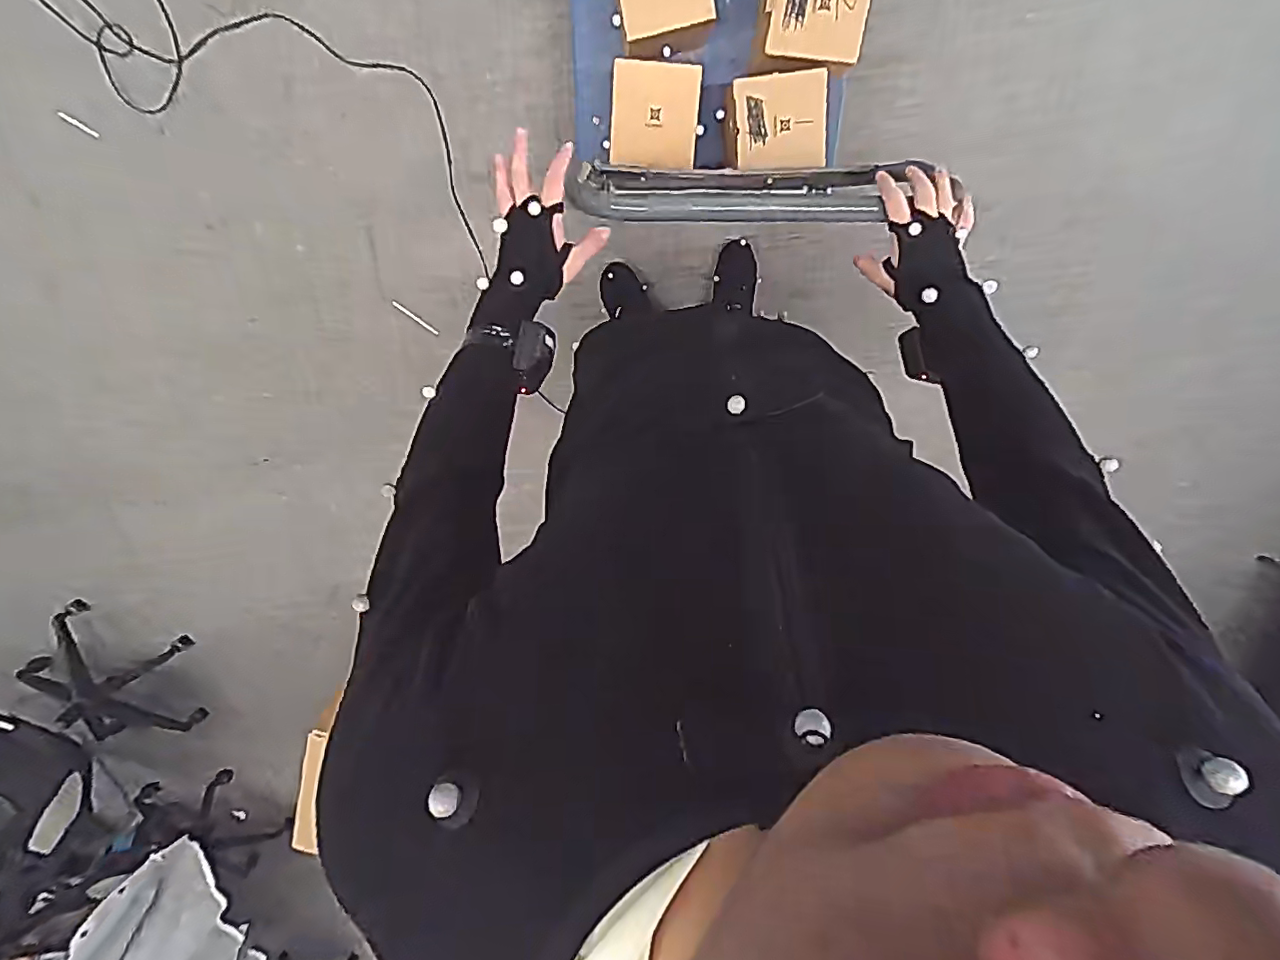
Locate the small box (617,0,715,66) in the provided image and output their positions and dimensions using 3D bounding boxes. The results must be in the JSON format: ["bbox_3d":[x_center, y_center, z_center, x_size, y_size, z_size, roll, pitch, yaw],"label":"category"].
[{"bbox_3d":[0.041,-0.911,1.016,0.168,0.176,0.179,-11,113,4],"label":"small box"}]

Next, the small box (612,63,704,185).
[{"bbox_3d":[0.030,-0.715,1.105,0.168,0.176,0.179,3,114,-2],"label":"small box"}]
